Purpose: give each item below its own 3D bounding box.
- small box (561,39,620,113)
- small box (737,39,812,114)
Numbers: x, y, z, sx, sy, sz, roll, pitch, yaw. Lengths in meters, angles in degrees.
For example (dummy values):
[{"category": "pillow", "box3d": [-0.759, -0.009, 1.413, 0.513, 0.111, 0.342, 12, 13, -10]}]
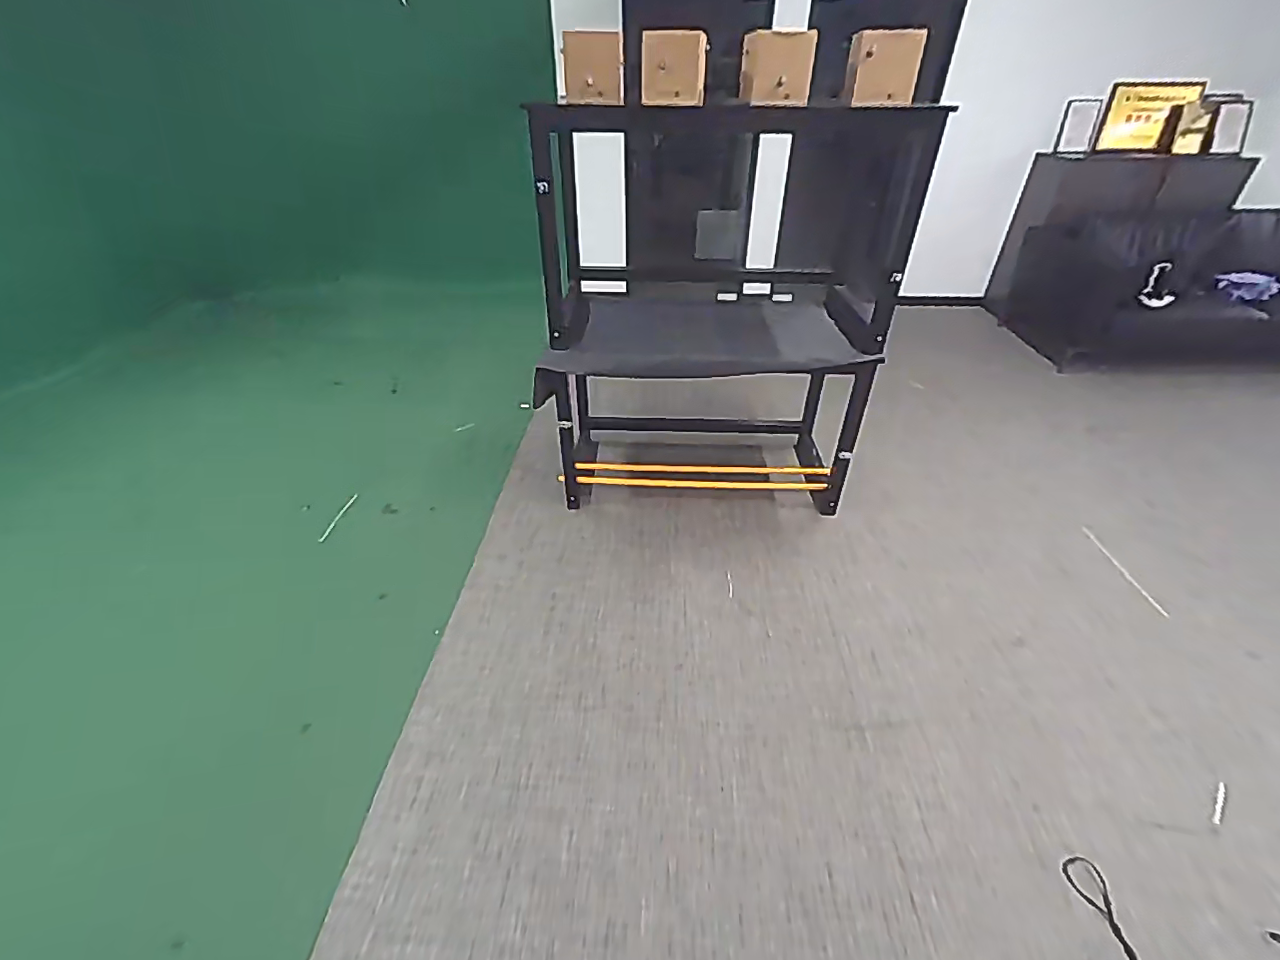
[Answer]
[{"category": "small box", "box3d": [-0.148, -1.217, 1.635, 0.168, 0.176, 0.179, -3, 37, -4]}, {"category": "small box", "box3d": [0.388, -1.187, 1.596, 0.168, 0.176, 0.179, -2, 36, -2]}]
